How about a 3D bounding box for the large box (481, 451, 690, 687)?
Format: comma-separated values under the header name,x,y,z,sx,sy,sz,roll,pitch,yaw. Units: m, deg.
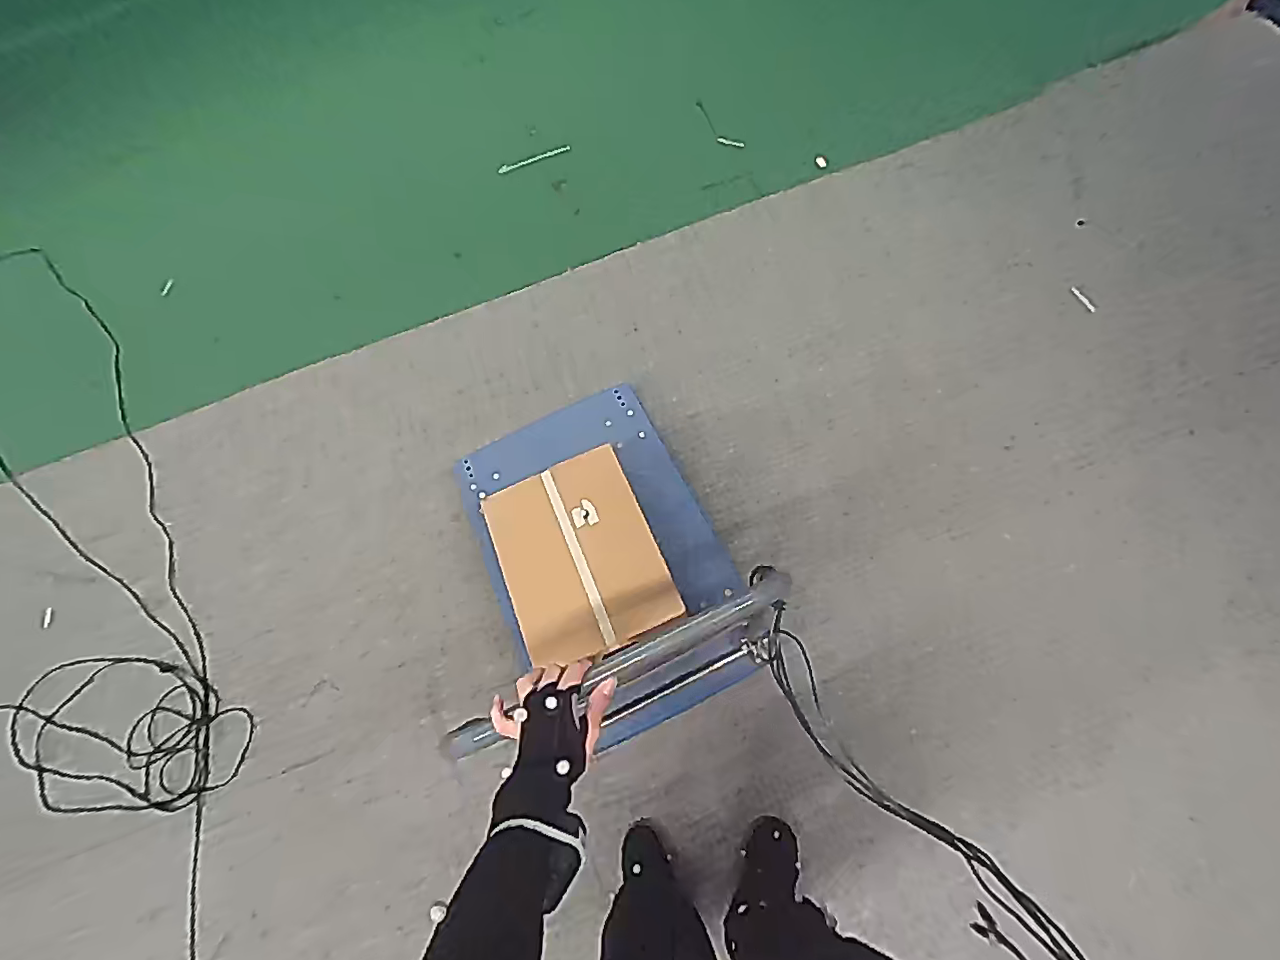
name,x,y,z,sx,sy,sz,roll,pitch,yaw
large box,-0.112,0.216,1.245,0.320,0.320,0.408,-24,66,-3
